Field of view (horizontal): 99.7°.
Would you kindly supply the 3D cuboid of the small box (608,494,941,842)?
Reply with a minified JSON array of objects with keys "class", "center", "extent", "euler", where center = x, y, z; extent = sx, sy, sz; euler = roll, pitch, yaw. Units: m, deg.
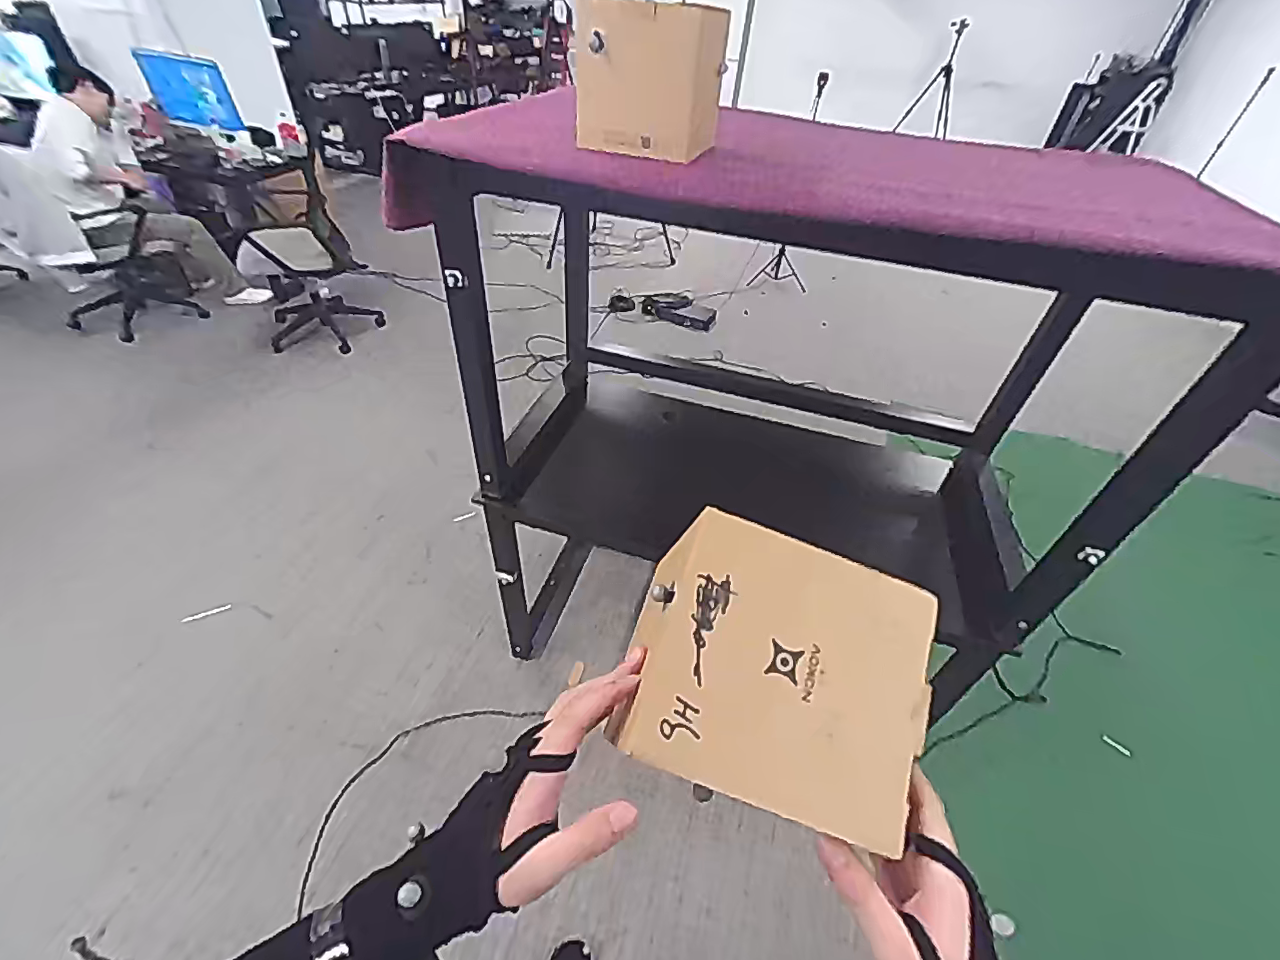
[{"class":"small box","center":[0.088,0.137,0.414],"extent":[0.179,0.176,0.168],"euler":[22,66,-1]}]
